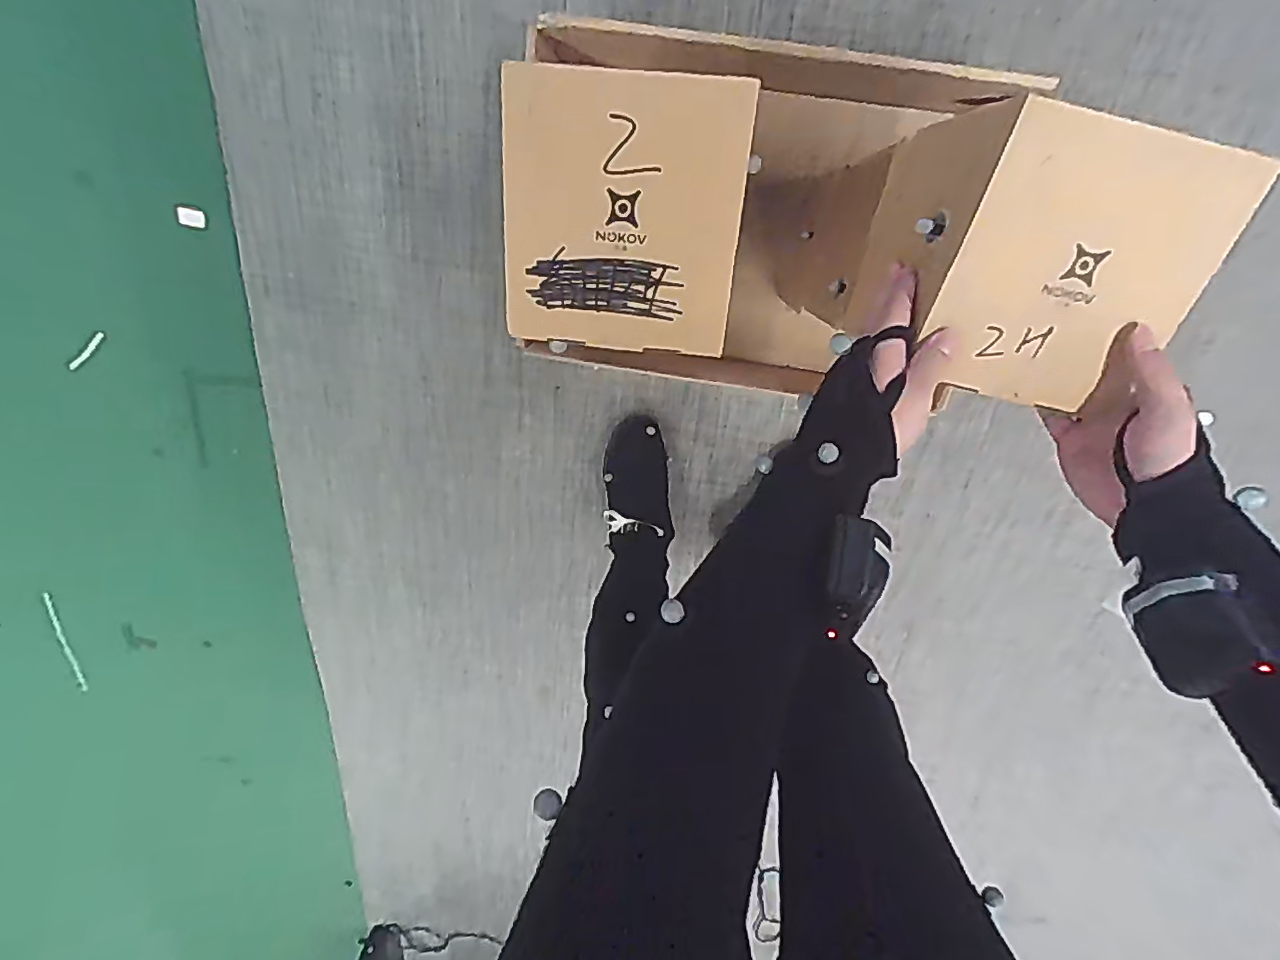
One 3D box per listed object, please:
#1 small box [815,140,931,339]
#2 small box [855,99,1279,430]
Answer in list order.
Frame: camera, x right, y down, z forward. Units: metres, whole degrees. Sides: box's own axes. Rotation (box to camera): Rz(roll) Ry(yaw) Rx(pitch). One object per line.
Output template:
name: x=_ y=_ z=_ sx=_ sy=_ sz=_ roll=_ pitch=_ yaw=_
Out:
small box: x=0.307 y=-0.239 z=0.584 sx=0.168 sy=0.176 sz=0.179 roll=12 pitch=116 yaw=-1
small box: x=0.296 y=-0.165 z=0.428 sx=0.168 sy=0.176 sz=0.179 roll=13 pitch=117 yaw=-3
